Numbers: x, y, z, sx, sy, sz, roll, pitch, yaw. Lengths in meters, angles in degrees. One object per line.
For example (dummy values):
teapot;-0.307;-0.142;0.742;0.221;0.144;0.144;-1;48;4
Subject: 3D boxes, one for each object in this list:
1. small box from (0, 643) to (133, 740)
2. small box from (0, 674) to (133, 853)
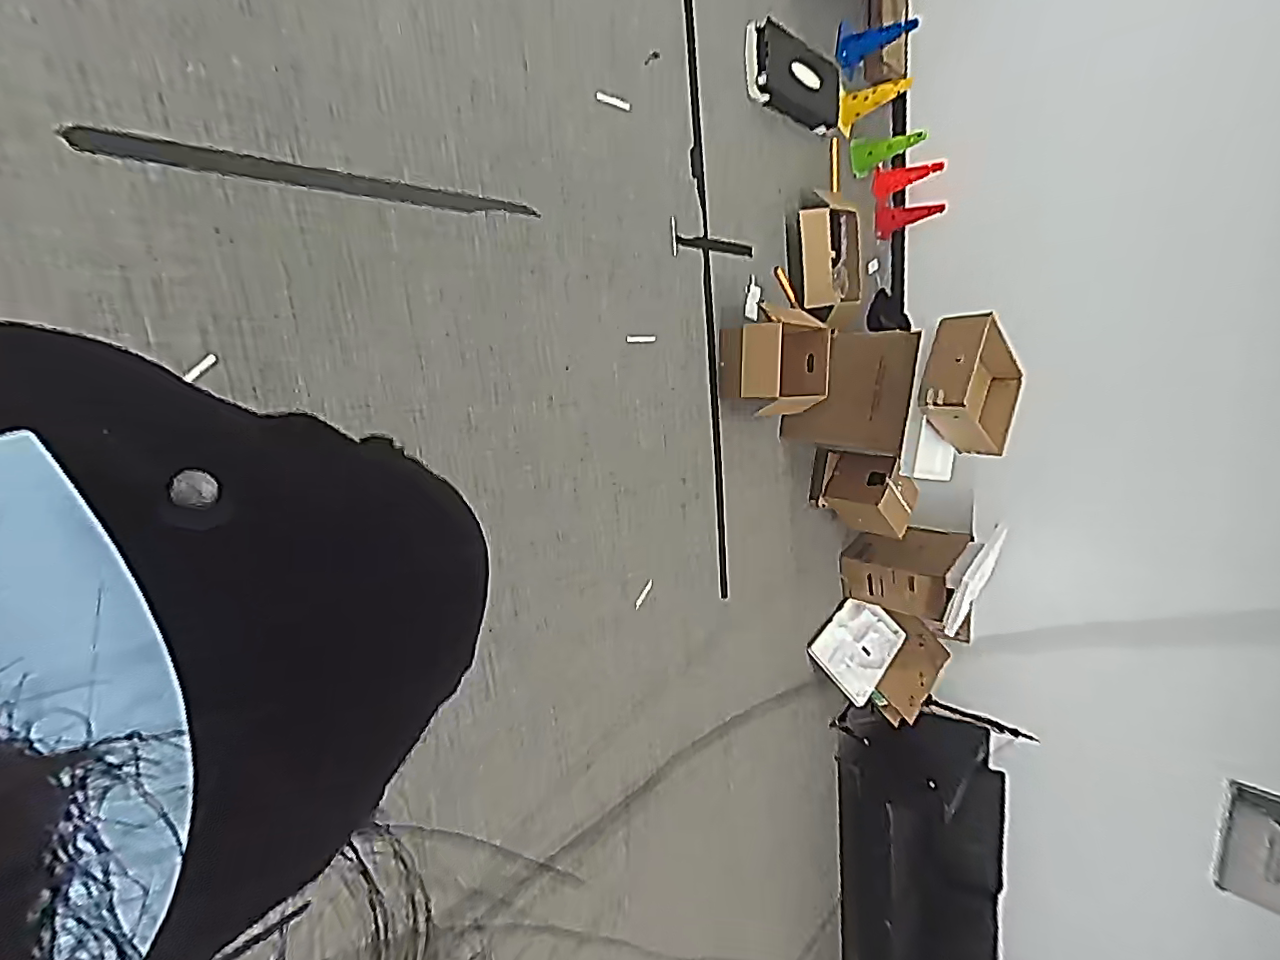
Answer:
small box;-1.096;0.437;1.012;0.168;0.176;0.179;-31;116;-39
small box;-0.976;0.458;0.903;0.168;0.176;0.179;-15;106;-43
